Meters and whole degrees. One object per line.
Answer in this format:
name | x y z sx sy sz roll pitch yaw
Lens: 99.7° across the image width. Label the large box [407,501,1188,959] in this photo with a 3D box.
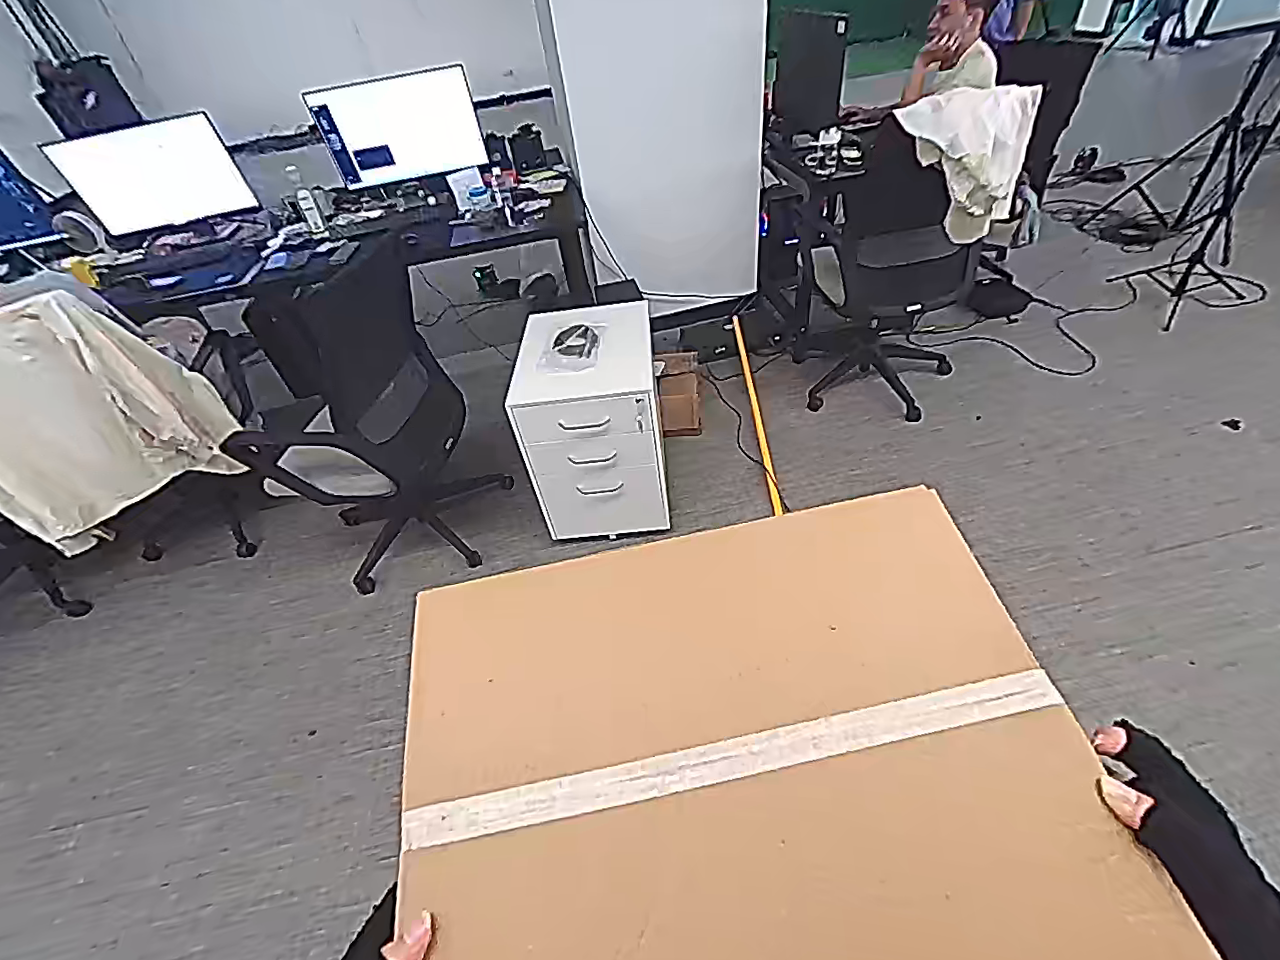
large box | 0.073 0.263 0.457 0.408 0.320 0.320 -12 54 -1
